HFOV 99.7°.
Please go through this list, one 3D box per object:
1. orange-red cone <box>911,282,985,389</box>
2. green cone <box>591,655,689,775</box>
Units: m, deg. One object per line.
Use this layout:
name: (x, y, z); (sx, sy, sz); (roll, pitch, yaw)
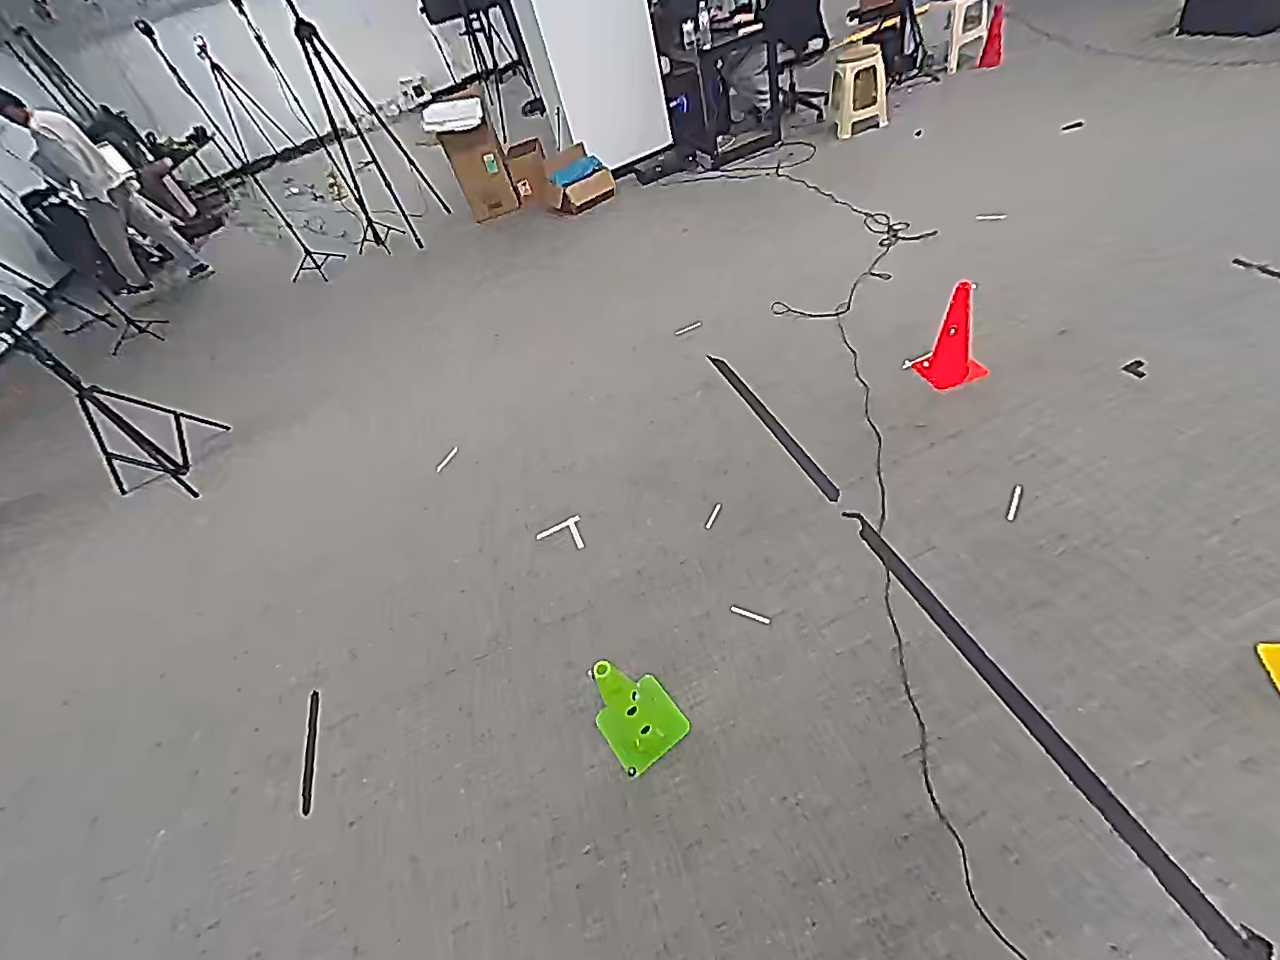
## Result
orange-red cone: (1.123, -0.536, 1.931); (0.198, 0.360, 0.199); (-20, 46, 2)
green cone: (-0.039, 0.533, 1.331); (0.200, 0.368, 0.202); (-35, 45, -15)
